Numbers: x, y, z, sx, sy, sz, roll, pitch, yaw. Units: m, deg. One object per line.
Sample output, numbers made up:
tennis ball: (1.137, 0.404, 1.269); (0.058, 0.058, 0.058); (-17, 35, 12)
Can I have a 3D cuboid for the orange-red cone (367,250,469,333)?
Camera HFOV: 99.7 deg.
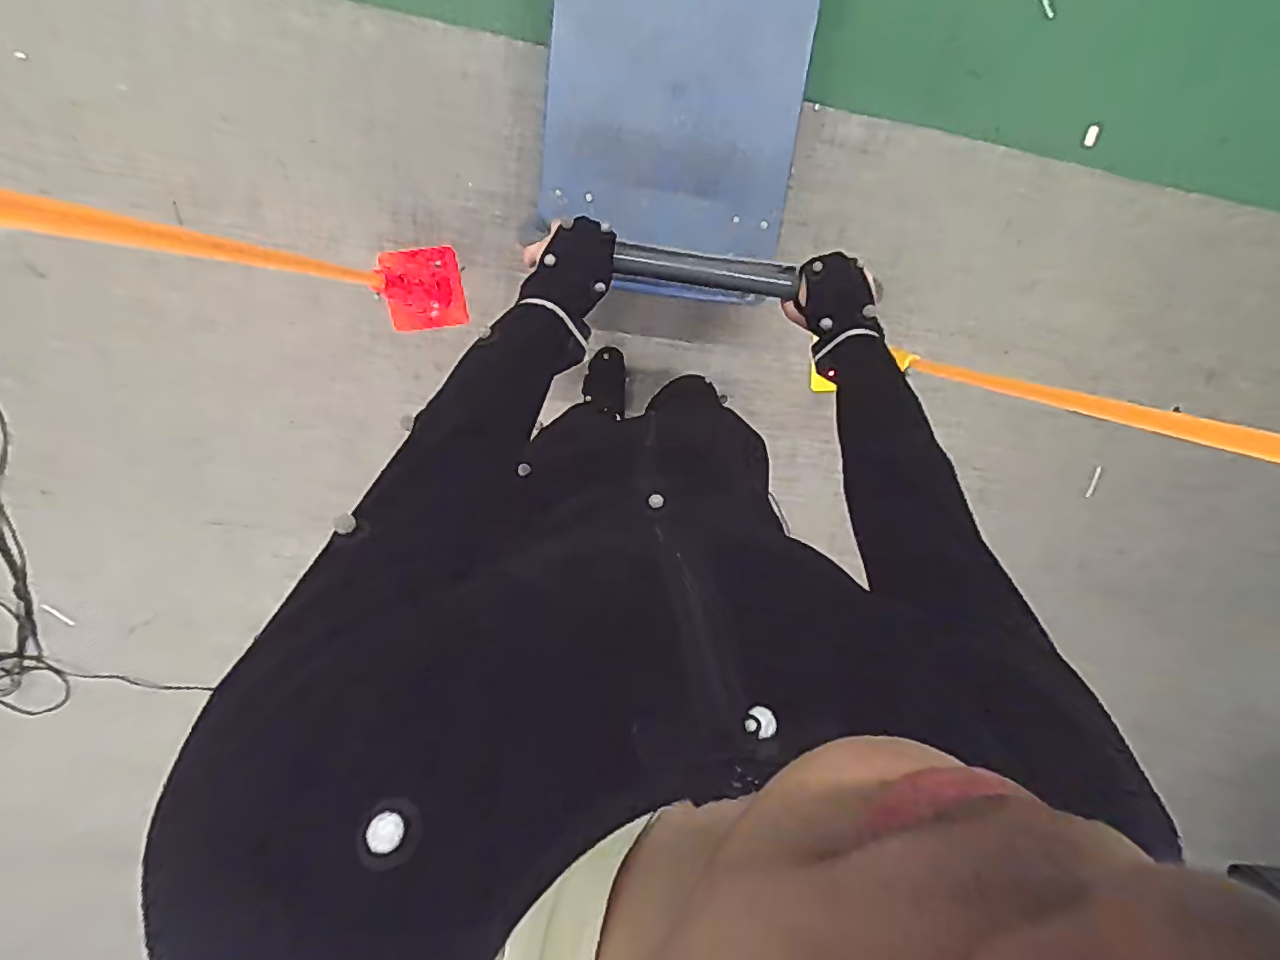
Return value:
orange-red cone: (-0.546, -0.446, 1.256); (0.199, 0.360, 0.198); (-7, 106, -2)
